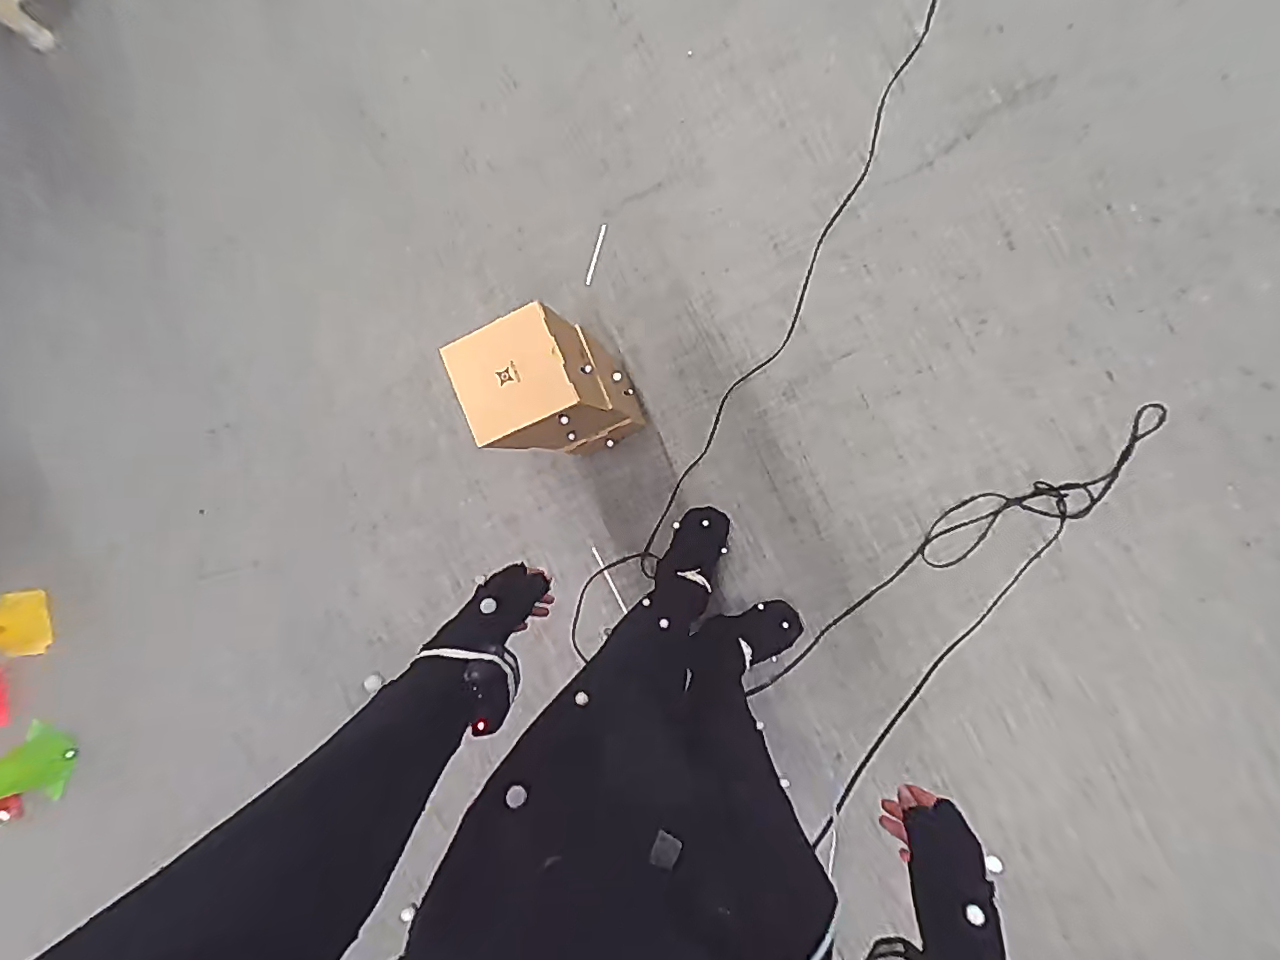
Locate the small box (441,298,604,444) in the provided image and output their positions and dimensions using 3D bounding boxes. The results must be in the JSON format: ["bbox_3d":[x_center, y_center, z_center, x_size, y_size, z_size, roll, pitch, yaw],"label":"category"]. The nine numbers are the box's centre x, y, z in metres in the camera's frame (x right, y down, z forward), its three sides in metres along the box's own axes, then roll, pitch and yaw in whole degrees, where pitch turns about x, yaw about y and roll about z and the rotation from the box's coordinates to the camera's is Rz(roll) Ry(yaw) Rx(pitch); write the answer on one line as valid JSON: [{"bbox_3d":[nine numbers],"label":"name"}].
[{"bbox_3d":[-0.181,-0.163,0.878,0.179,0.176,0.168,-23,88,11],"label":"small box"}]

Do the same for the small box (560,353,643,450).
[{"bbox_3d":[-0.107,-0.178,1.197,0.168,0.176,0.179,-23,89,11],"label":"small box"}]

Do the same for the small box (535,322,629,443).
[{"bbox_3d":[-0.142,-0.175,1.036,0.179,0.176,0.168,-22,89,11],"label":"small box"}]
